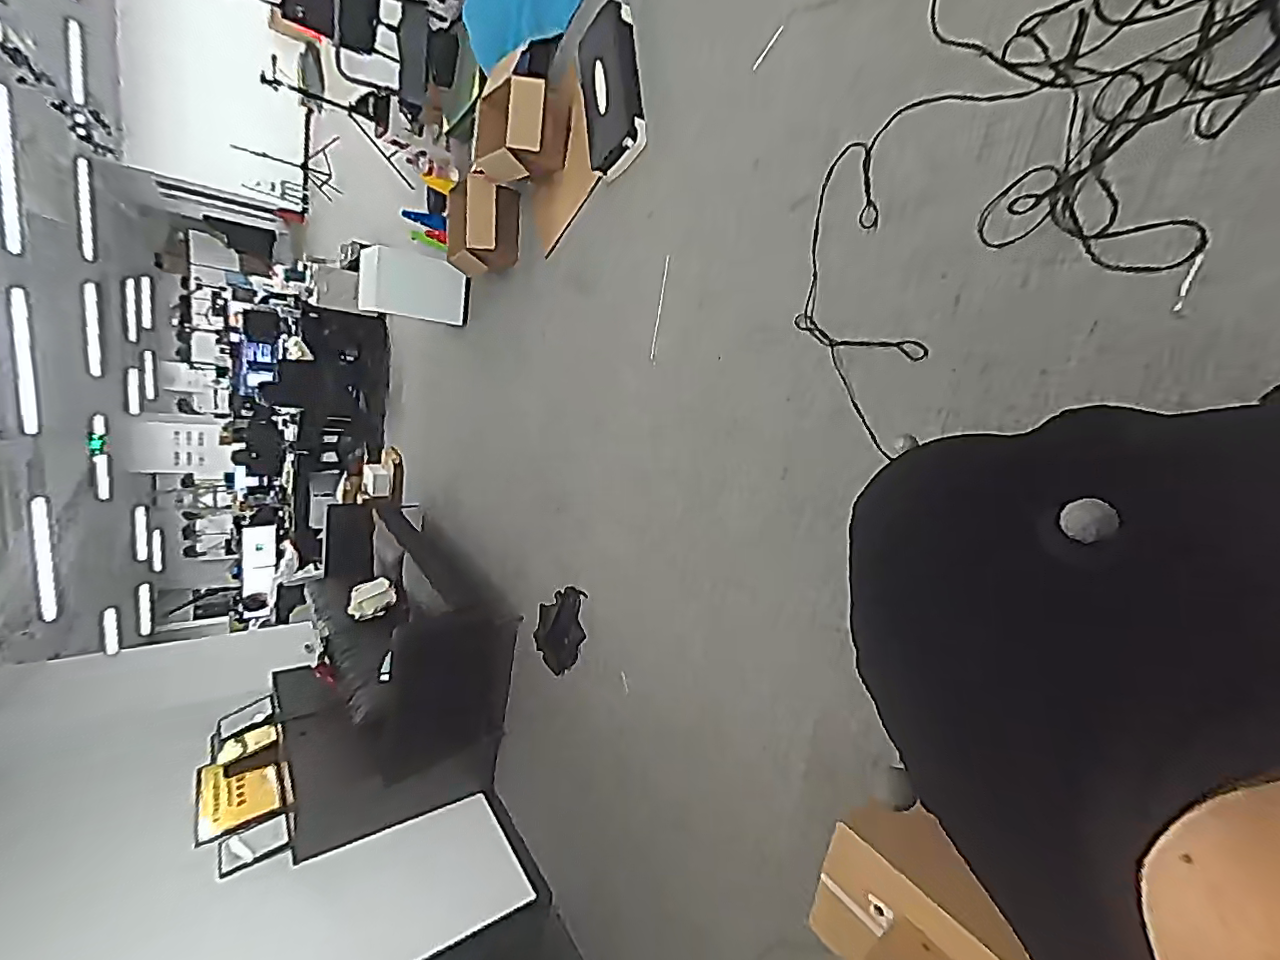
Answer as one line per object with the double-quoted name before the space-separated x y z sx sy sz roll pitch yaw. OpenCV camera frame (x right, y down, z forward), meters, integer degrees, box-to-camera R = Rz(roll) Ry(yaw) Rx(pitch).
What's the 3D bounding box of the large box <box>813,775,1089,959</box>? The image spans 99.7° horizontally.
"large box" 0.675 0.966 1.207 0.408 0.320 0.320 26 110 50
